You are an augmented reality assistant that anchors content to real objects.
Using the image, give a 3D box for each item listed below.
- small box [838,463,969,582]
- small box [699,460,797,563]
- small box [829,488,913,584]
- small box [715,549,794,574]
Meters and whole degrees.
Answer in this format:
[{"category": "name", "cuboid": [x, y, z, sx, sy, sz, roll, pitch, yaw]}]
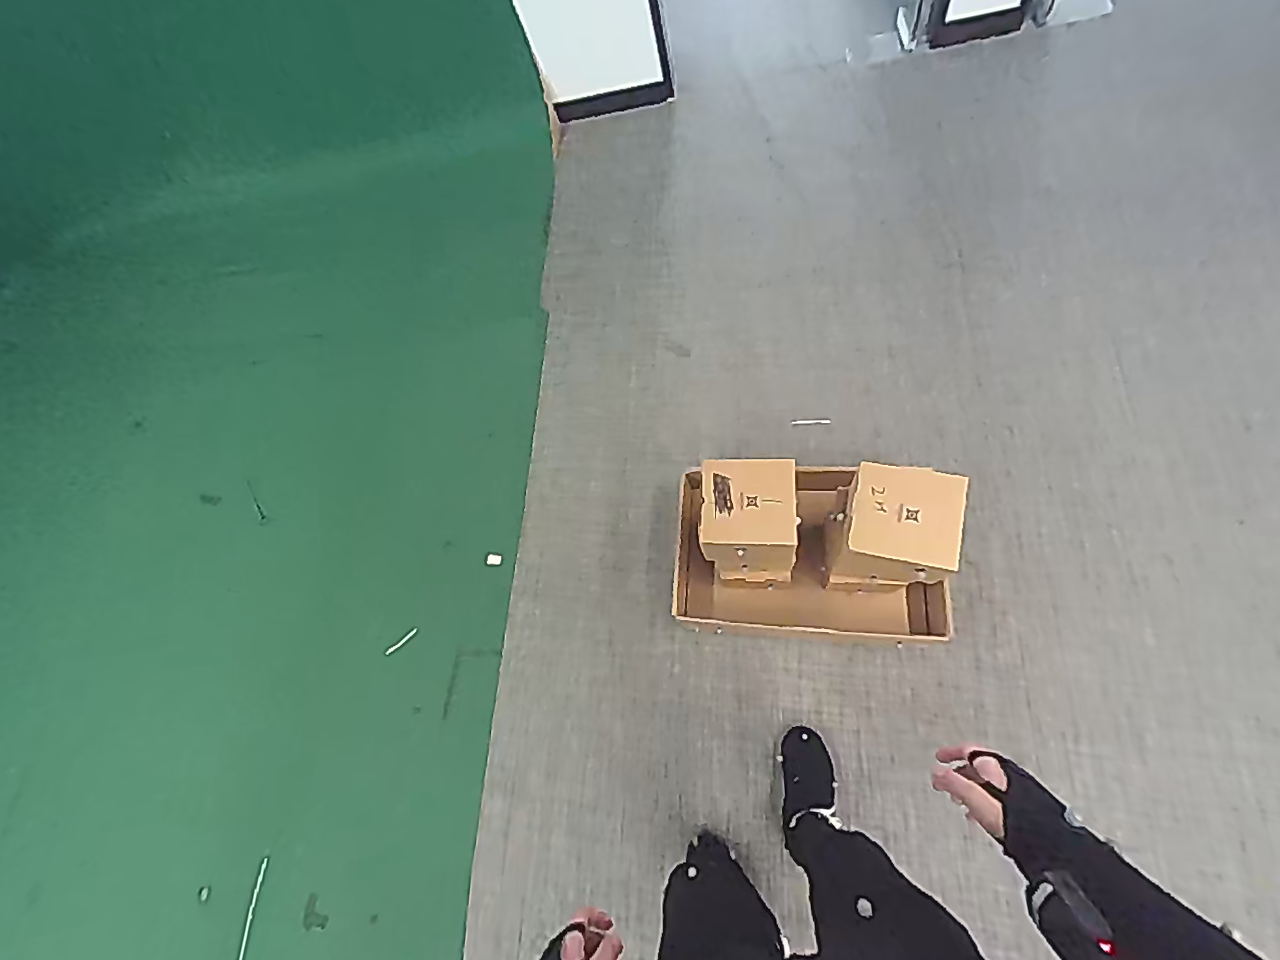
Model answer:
[{"category": "small box", "cuboid": [0.474, 0.084, 0.992, 0.179, 0.176, 0.168, 10, 75, 18]}, {"category": "small box", "cuboid": [0.215, 0.067, 1.069, 0.179, 0.176, 0.168, 0, 71, 12]}, {"category": "small box", "cuboid": [0.505, 0.124, 1.151, 0.179, 0.176, 0.168, 3, 72, 16]}, {"category": "small box", "cuboid": [0.259, 0.115, 1.221, 0.168, 0.176, 0.179, -1, 71, 12]}]
